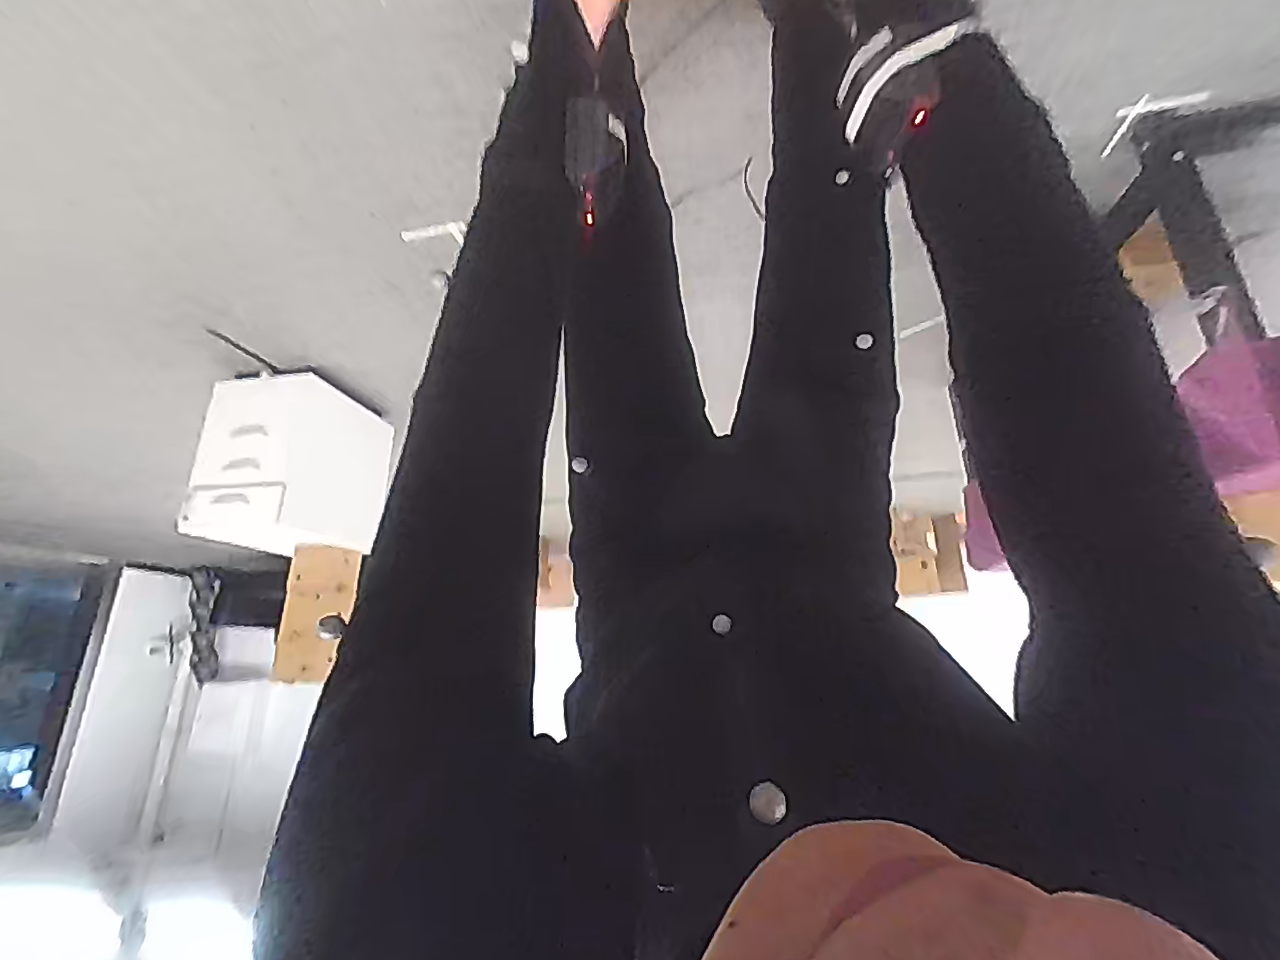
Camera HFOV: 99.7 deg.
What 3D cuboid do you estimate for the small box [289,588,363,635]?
[{"bbox_3d":[-1.206,0.509,2.088,0.168,0.176,0.179,-3,163,10],"label":"small box"}]

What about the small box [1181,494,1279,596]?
[{"bbox_3d":[1.200,0.124,1.020,0.179,0.176,0.168,-4,161,10],"label":"small box"}]

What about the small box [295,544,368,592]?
[{"bbox_3d":[-1.212,0.353,2.138,0.179,0.176,0.168,-3,162,11],"label":"small box"}]
